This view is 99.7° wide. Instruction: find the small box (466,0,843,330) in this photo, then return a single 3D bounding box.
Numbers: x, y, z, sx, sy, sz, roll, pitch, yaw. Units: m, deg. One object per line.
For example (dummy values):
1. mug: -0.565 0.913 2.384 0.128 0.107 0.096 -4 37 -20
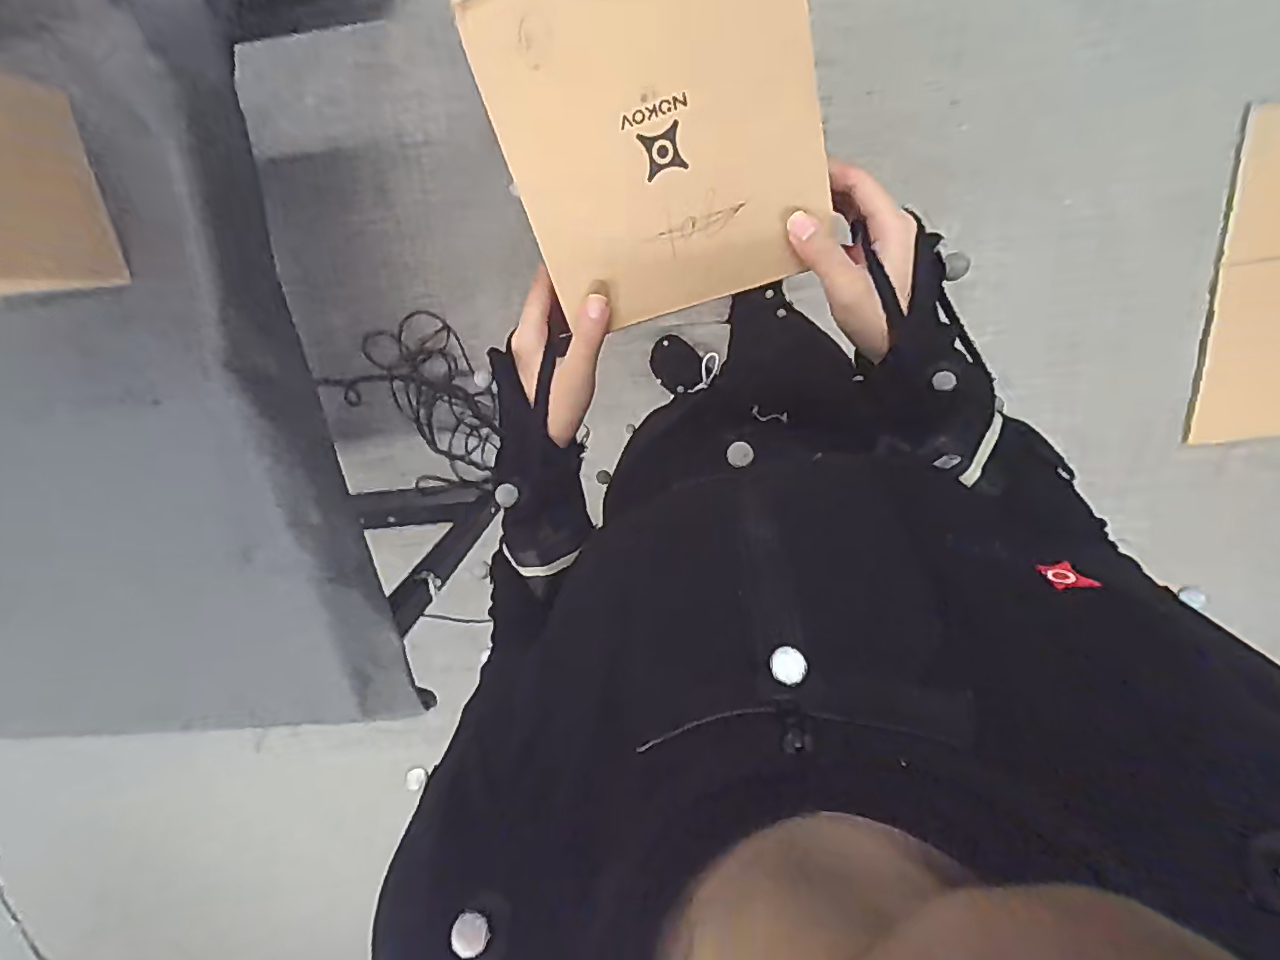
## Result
1. small box: 0.019 -0.222 0.351 0.168 0.176 0.179 -13 120 11
